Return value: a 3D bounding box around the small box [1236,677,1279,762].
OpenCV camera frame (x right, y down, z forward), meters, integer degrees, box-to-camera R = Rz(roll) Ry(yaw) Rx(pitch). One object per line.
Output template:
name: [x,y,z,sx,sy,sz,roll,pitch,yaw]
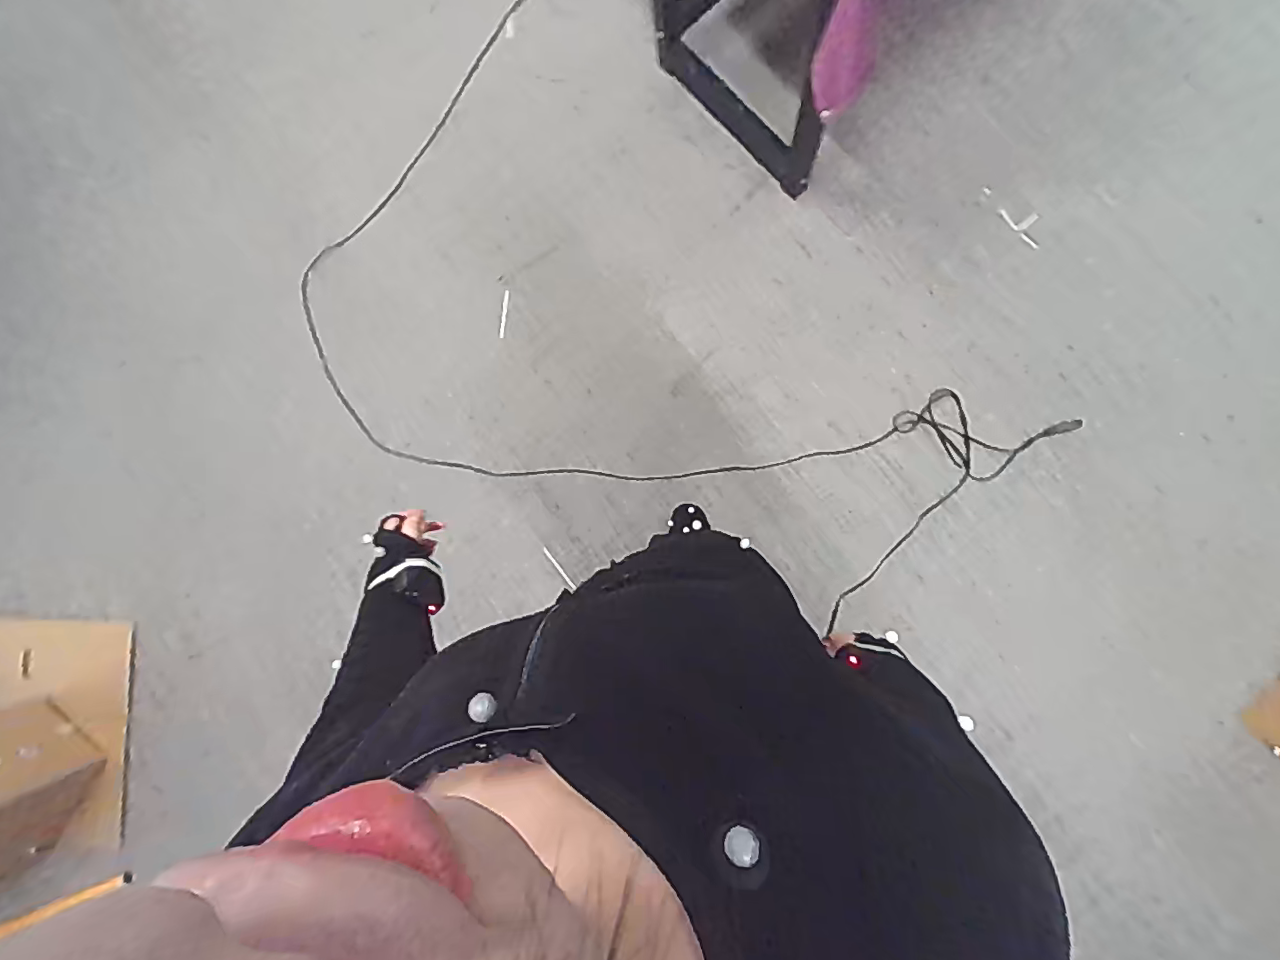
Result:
small box: [1.531,0.561,1.209,0.179,0.176,0.168,-43,83,5]
